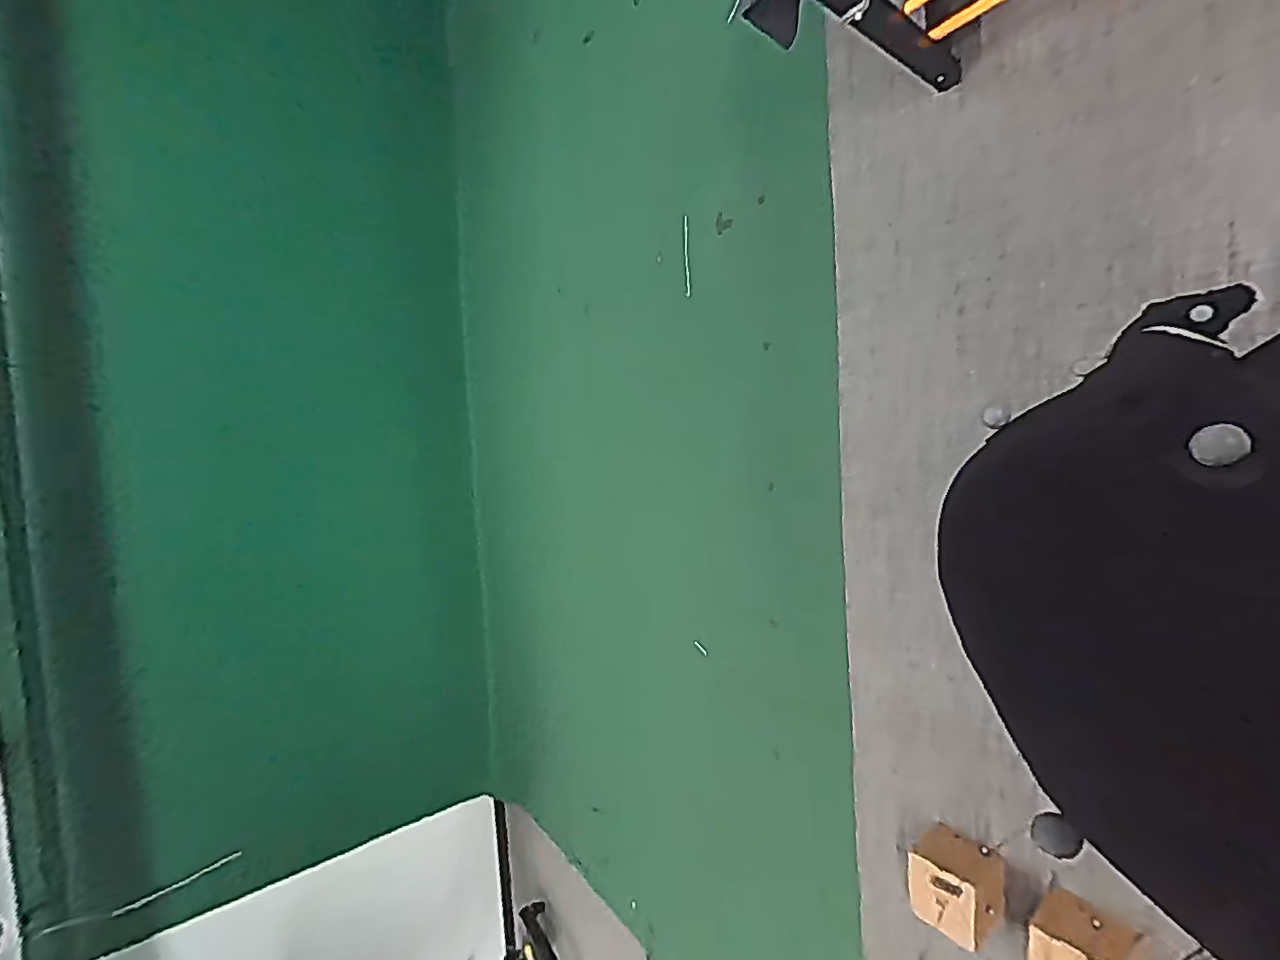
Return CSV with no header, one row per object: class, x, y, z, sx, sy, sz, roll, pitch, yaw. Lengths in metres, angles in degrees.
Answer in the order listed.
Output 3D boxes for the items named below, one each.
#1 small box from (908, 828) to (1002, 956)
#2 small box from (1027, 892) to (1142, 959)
small box,0.826,1.064,1.418,0.168,0.176,0.179,4,97,53
small box,0.989,1.086,1.205,0.168,0.176,0.179,4,97,53
